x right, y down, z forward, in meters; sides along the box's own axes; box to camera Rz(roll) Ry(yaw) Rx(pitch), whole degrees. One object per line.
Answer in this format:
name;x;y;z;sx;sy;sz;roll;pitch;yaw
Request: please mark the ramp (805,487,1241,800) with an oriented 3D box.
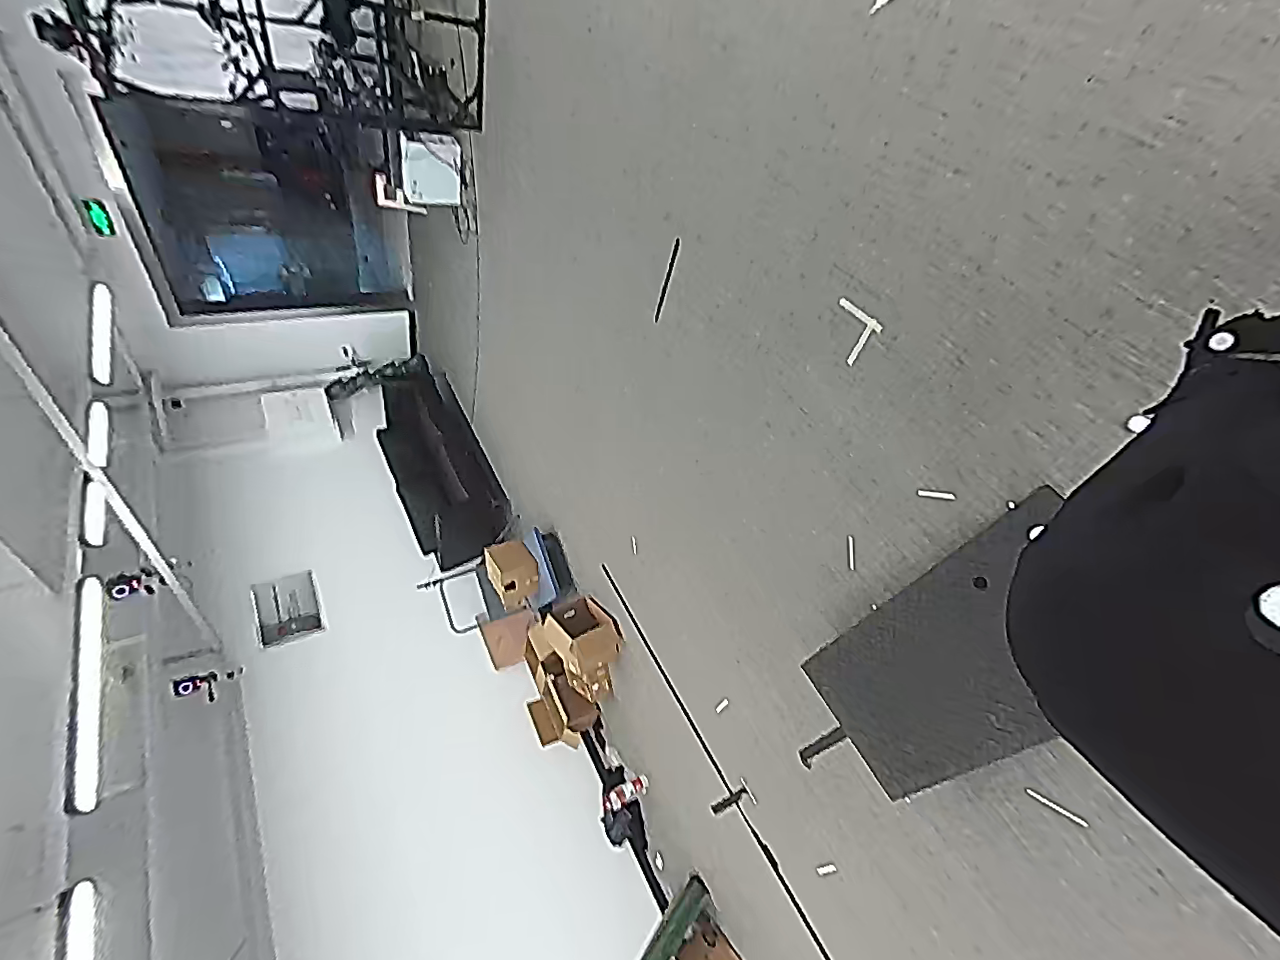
ramp;0.912;0.511;1.523;0.509;0.206;0.991;58;146;30
